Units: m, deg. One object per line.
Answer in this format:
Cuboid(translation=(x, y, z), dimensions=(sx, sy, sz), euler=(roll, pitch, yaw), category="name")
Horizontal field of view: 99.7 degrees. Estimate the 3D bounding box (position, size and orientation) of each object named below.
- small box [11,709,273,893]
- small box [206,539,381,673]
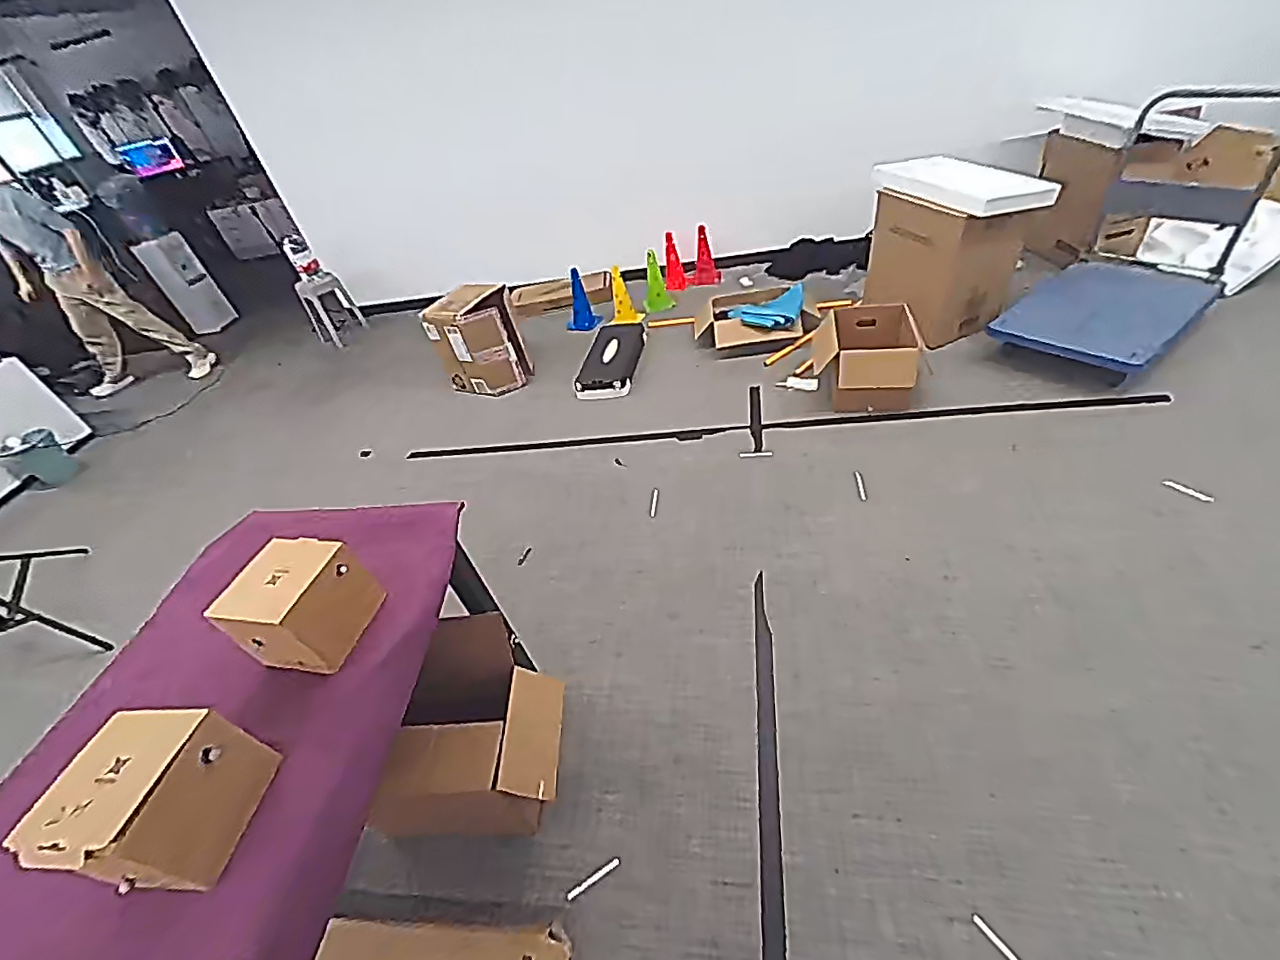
Cuboid(translation=(-0.661, 0.443, 0.752), dimensions=(0.168, 0.176, 0.179), euler=(-6, 41, 12), category="small box")
Cuboid(translation=(-0.611, 0.229, 0.983), dimensions=(0.168, 0.176, 0.179), euler=(0, 42, 16), category="small box")
